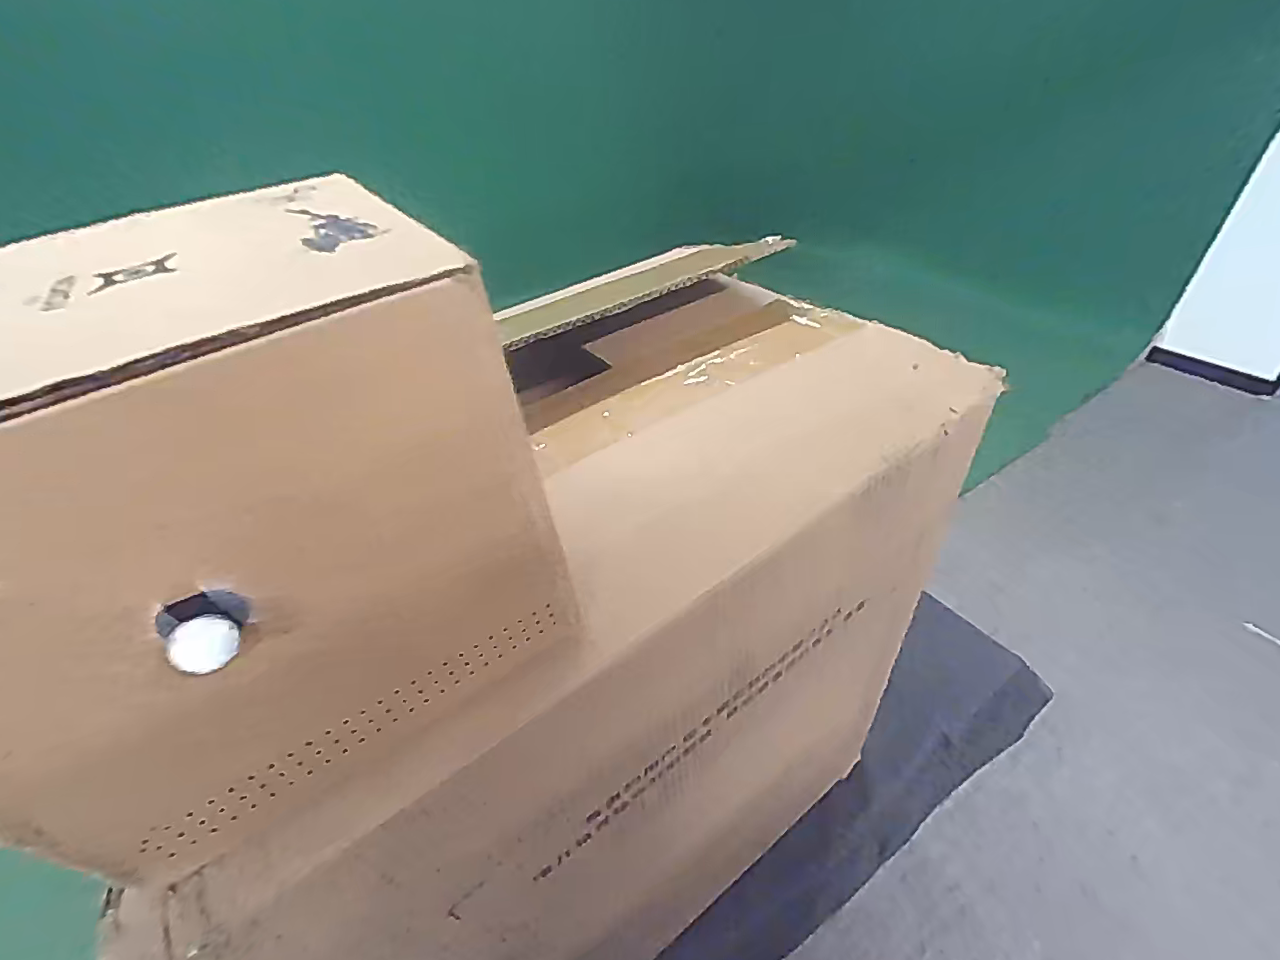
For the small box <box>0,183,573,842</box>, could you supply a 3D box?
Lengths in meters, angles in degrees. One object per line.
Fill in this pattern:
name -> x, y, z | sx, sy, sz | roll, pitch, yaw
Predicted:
small box -> -0.151, 0.003, 0.223 | 0.179, 0.176, 0.168 | -30, 47, -21
